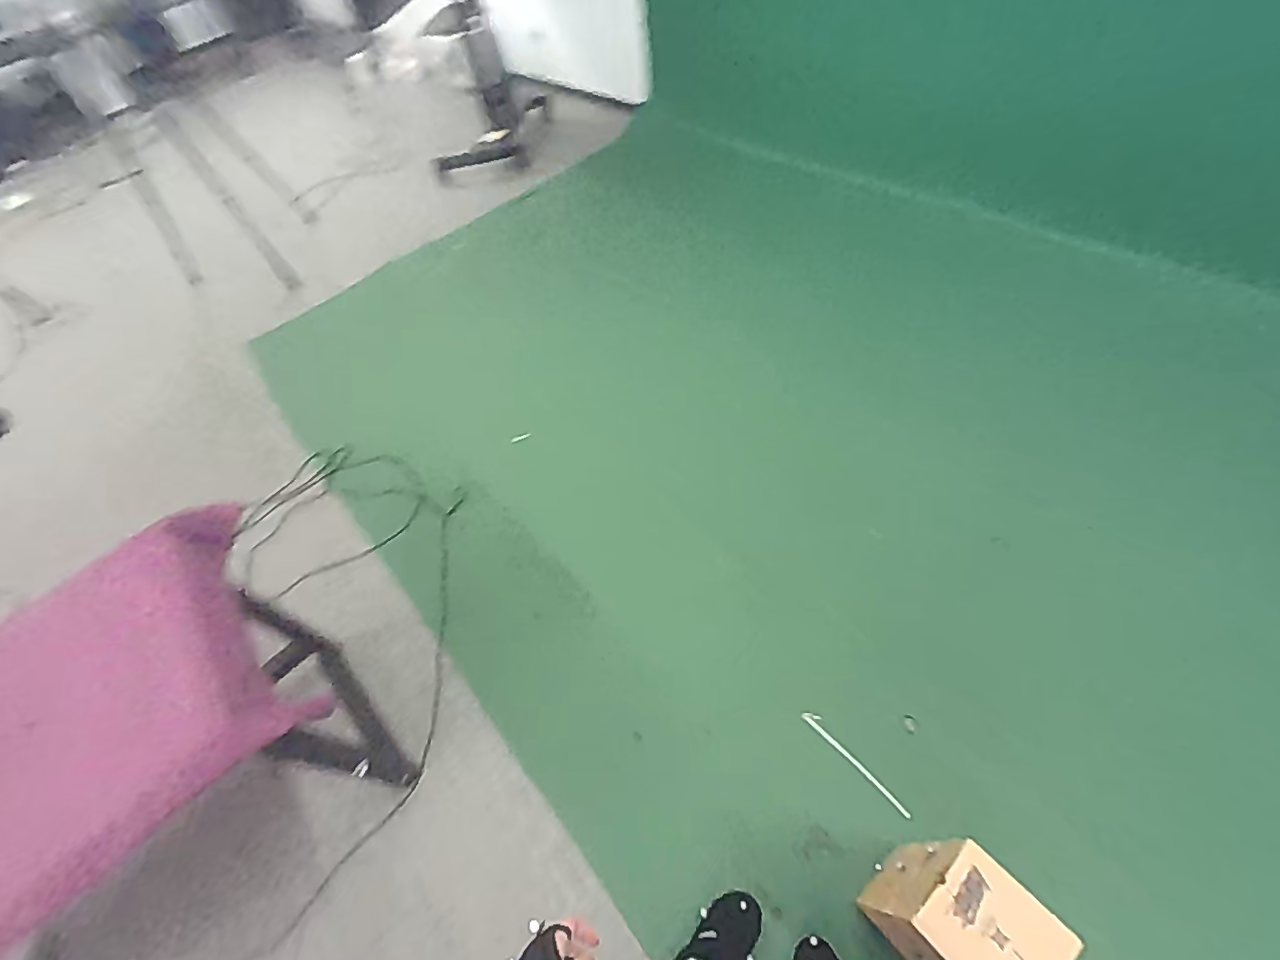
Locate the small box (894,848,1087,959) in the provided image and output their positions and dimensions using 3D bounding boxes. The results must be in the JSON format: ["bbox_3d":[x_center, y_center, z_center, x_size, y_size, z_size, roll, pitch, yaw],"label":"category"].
[{"bbox_3d":[0.541,0.732,0.864,0.168,0.176,0.179,-39,58,-16],"label":"small box"}]

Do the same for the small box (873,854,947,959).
[{"bbox_3d":[0.563,0.828,0.996,0.168,0.176,0.179,-38,56,-17],"label":"small box"}]

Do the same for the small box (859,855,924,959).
[{"bbox_3d":[0.590,0.919,1.127,0.168,0.176,0.179,-37,57,-16],"label":"small box"}]
